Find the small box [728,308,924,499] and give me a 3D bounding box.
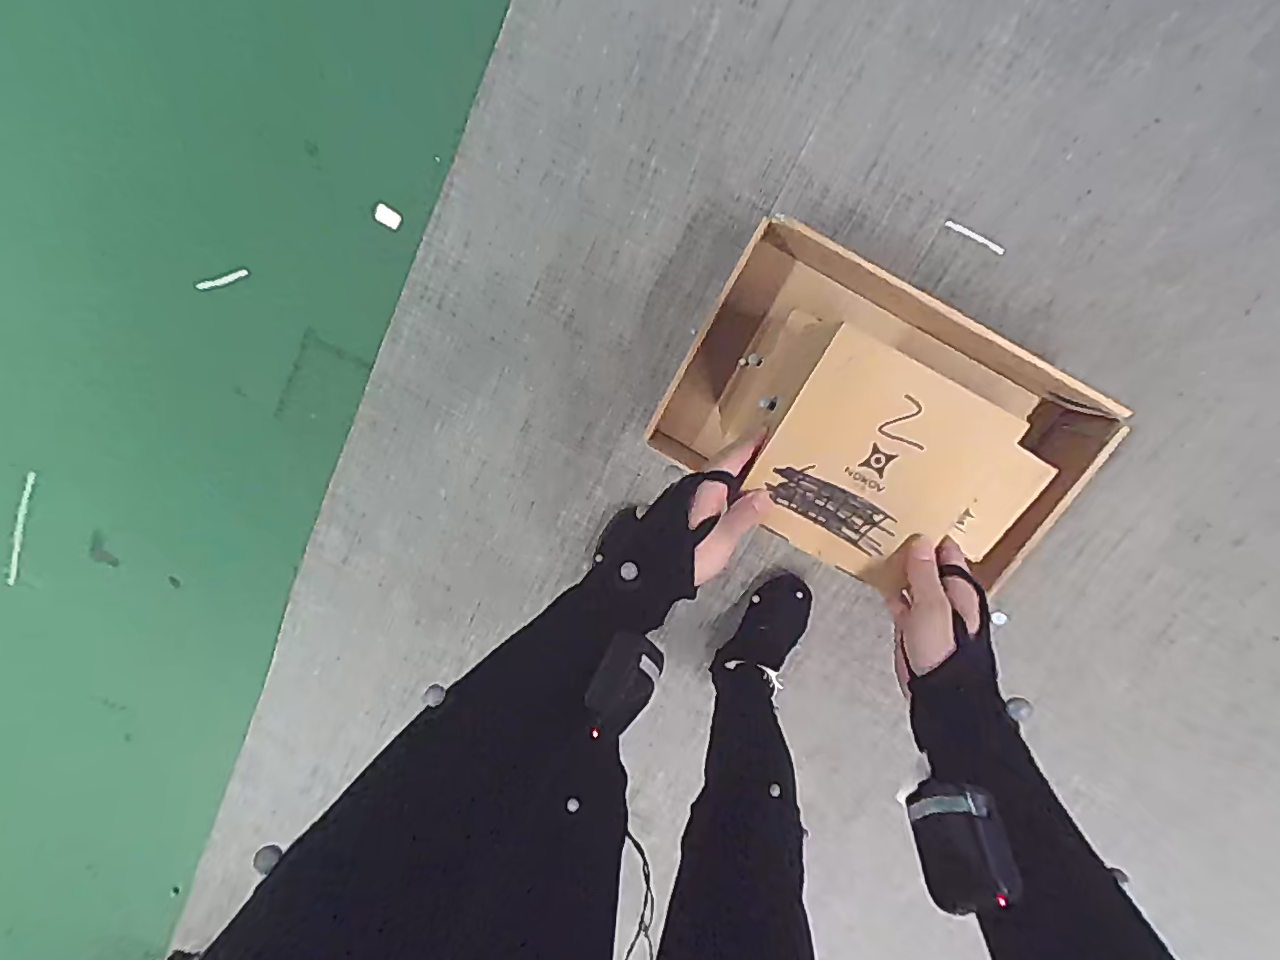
[{"bbox_3d":[0.225,-0.105,0.714,0.168,0.176,0.179,27,105,0],"label":"small box"}]
